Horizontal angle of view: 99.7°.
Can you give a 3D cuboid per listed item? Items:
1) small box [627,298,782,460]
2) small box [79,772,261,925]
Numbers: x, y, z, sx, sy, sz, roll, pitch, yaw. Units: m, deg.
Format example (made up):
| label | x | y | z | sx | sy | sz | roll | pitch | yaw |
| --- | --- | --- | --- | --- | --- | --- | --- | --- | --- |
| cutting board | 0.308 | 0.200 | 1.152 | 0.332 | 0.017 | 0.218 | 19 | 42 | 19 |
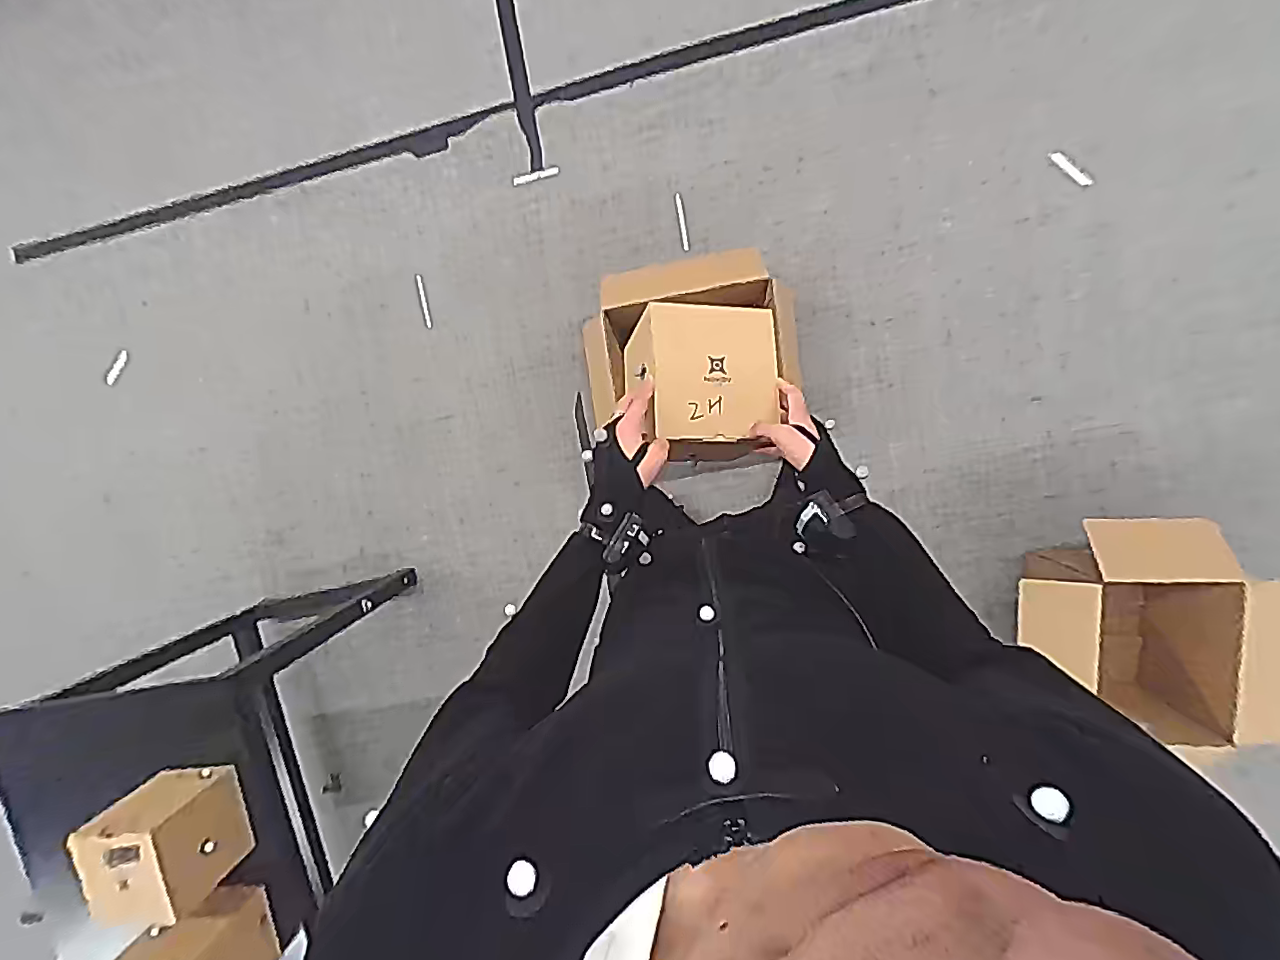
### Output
| label | x | y | z | sx | sy | sz | roll | pitch | yaw |
| --- | --- | --- | --- | --- | --- | --- | --- | --- | --- |
| small box | 0.078 | -0.127 | 0.742 | 0.168 | 0.176 | 0.179 | -1 | 84 | -12 |
| small box | -0.851 | 0.666 | 0.997 | 0.168 | 0.176 | 0.179 | -9 | 98 | 8 |
